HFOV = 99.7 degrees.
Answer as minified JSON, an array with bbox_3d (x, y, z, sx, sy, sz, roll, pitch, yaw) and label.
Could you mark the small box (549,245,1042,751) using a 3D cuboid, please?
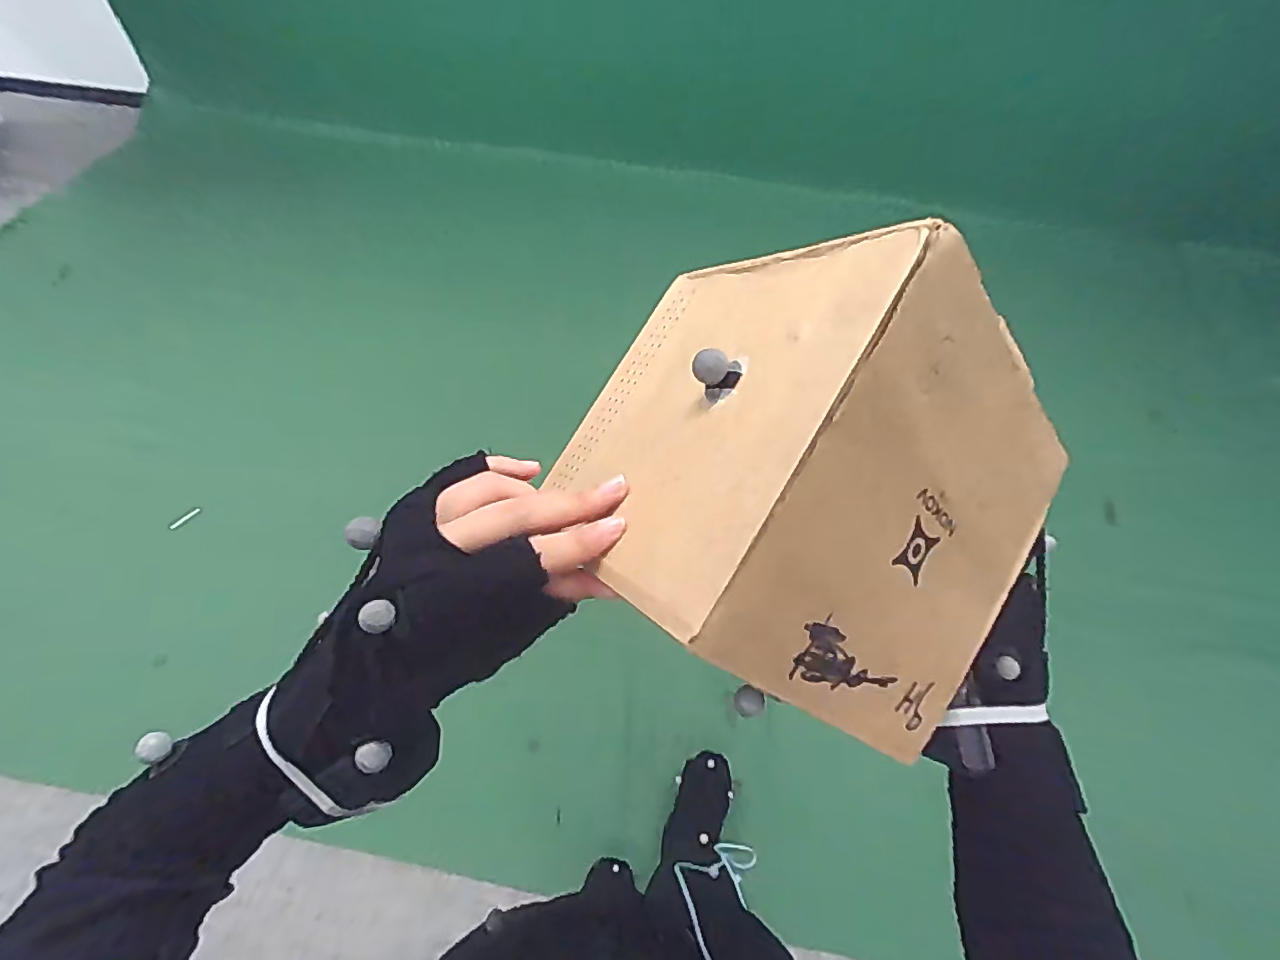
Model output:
[{"bbox_3d":[0.076,0.007,0.303,0.179,0.168,0.176,-59,31,-8],"label":"small box"}]
